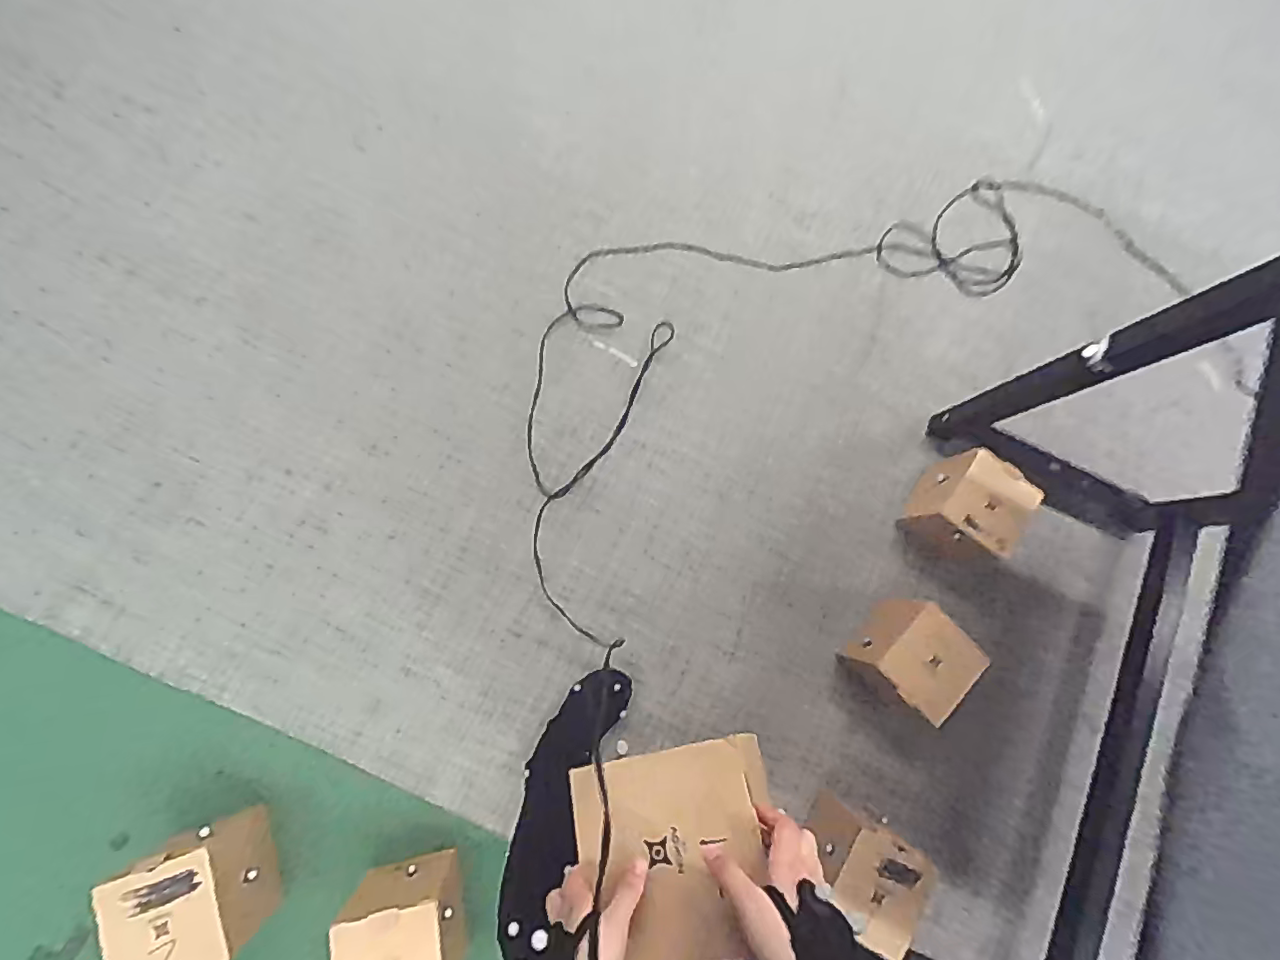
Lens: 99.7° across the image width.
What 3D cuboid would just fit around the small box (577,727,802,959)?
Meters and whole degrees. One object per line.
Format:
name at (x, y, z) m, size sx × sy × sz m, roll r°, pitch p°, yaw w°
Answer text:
small box at (0.055, 0.359, 0.554) m, size 0.179 × 0.176 × 0.168 m, roll -17°, pitch 63°, yaw 11°

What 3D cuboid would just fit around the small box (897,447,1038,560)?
small box at (0.706, 0.058, 1.186) m, size 0.168 × 0.176 × 0.179 m, roll 38°, pitch 77°, yaw 1°

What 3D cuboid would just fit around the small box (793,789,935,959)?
small box at (0.411, 0.732, 1.029) m, size 0.168 × 0.176 × 0.179 m, roll 31°, pitch 79°, yaw 0°

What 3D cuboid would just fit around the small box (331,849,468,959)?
small box at (-0.403, 0.783, 0.930) m, size 0.168 × 0.176 × 0.179 m, roll -9°, pitch 80°, yaw -8°

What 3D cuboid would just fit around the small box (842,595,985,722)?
small box at (0.548, 0.358, 1.114) m, size 0.168 × 0.176 × 0.179 m, roll 45°, pitch 77°, yaw 2°
